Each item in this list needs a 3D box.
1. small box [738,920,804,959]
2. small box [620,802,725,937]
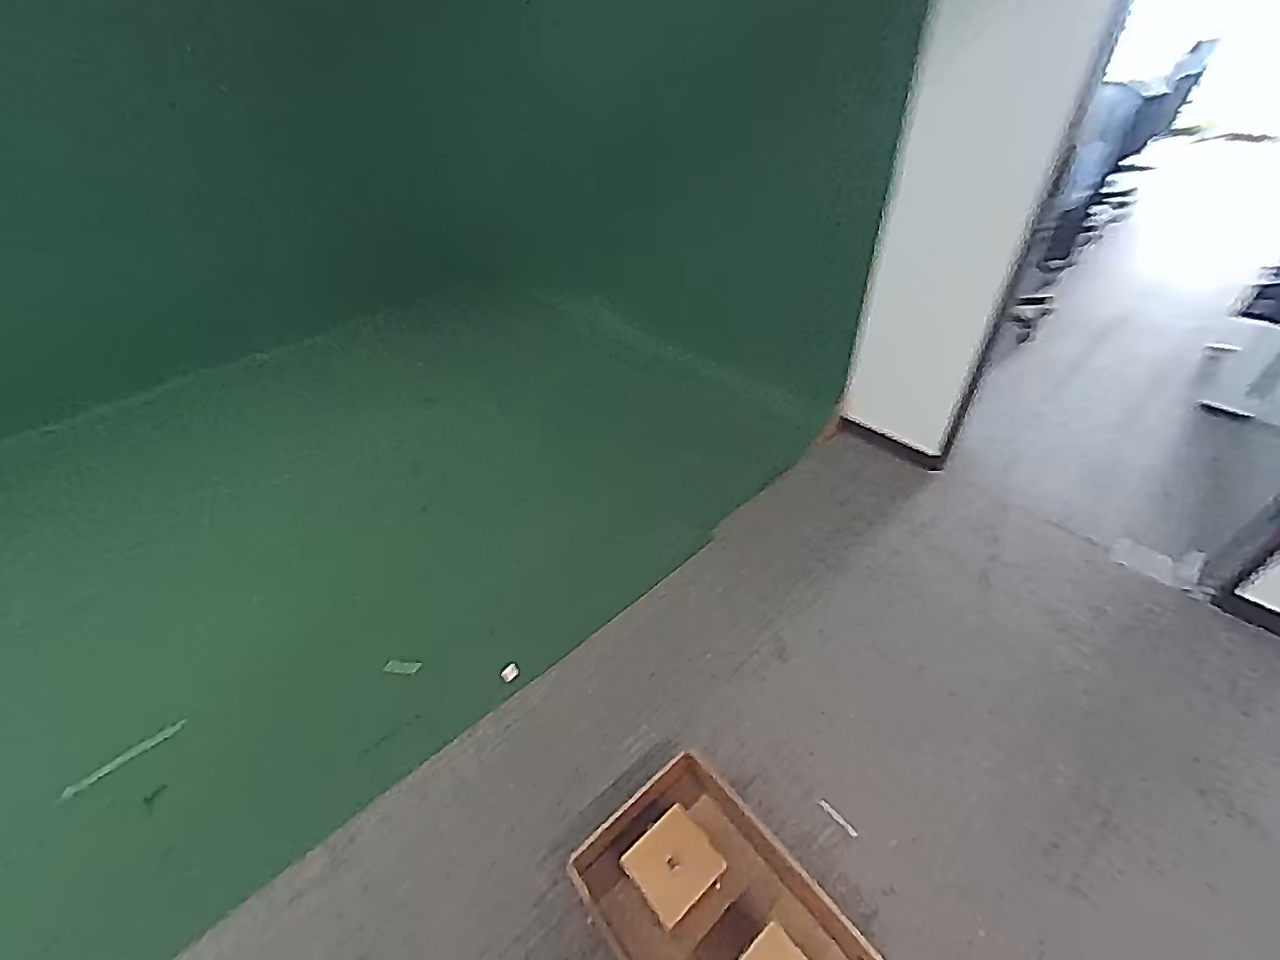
[{"bbox_3d":[0.260,1.031,1.067,0.179,0.176,0.168,-31,48,-25],"label":"small box"},{"bbox_3d":[0.076,0.893,1.237,0.179,0.176,0.168,-31,49,-26],"label":"small box"}]
